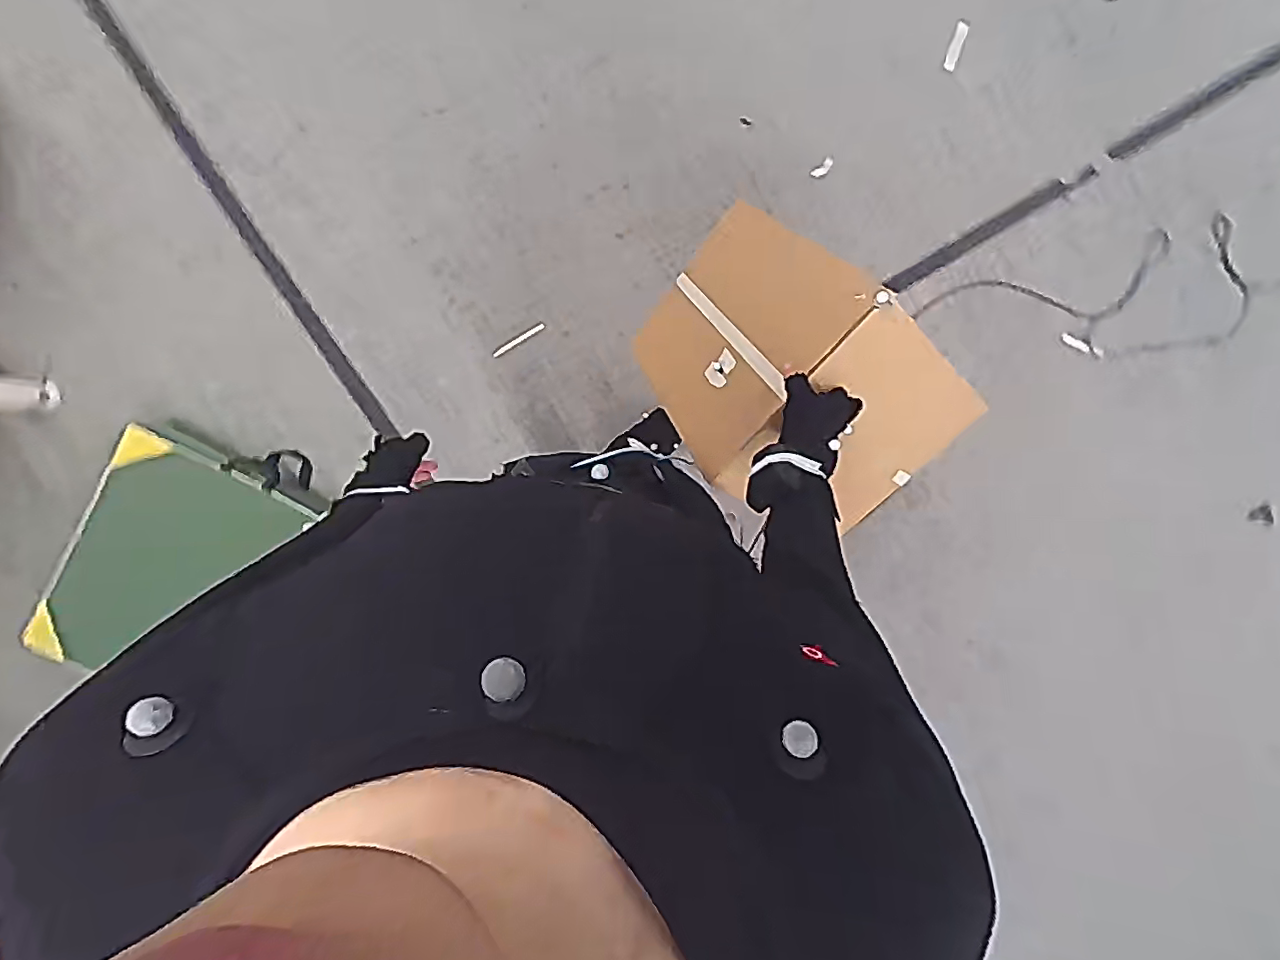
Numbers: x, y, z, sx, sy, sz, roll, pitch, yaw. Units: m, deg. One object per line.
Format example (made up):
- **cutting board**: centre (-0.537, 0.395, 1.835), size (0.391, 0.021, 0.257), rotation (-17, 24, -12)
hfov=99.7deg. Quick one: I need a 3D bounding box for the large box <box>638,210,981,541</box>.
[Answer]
- **large box**: centre (0.254, -0.173, 0.904), size (0.320, 0.408, 0.320), rotation (25, 118, -36)
